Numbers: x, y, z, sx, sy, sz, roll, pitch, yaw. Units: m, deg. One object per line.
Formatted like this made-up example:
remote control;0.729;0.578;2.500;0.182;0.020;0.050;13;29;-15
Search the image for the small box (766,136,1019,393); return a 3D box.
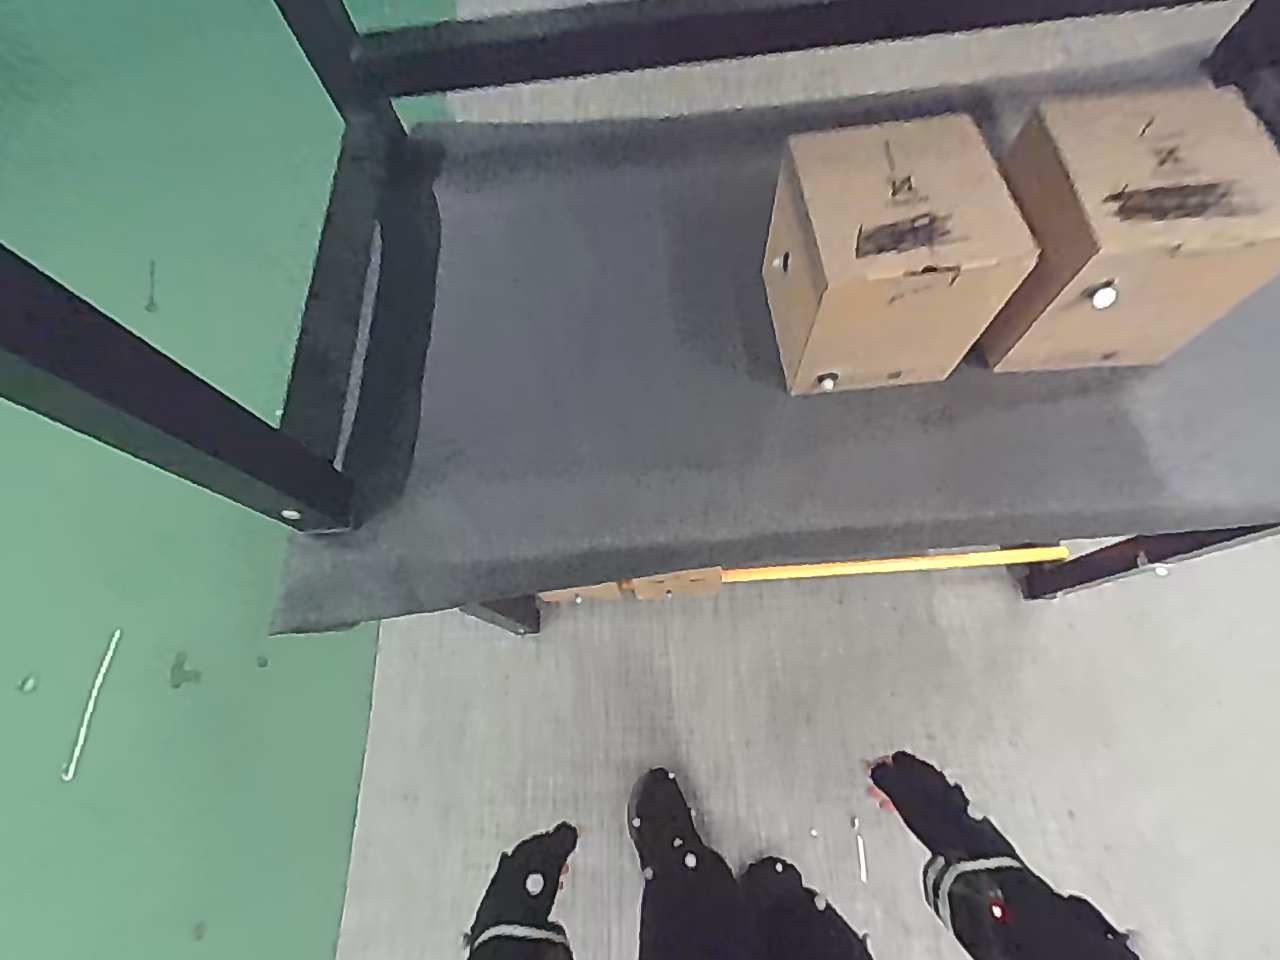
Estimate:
small box;0.230;-0.202;0.547;0.168;0.176;0.179;-6;65;3
